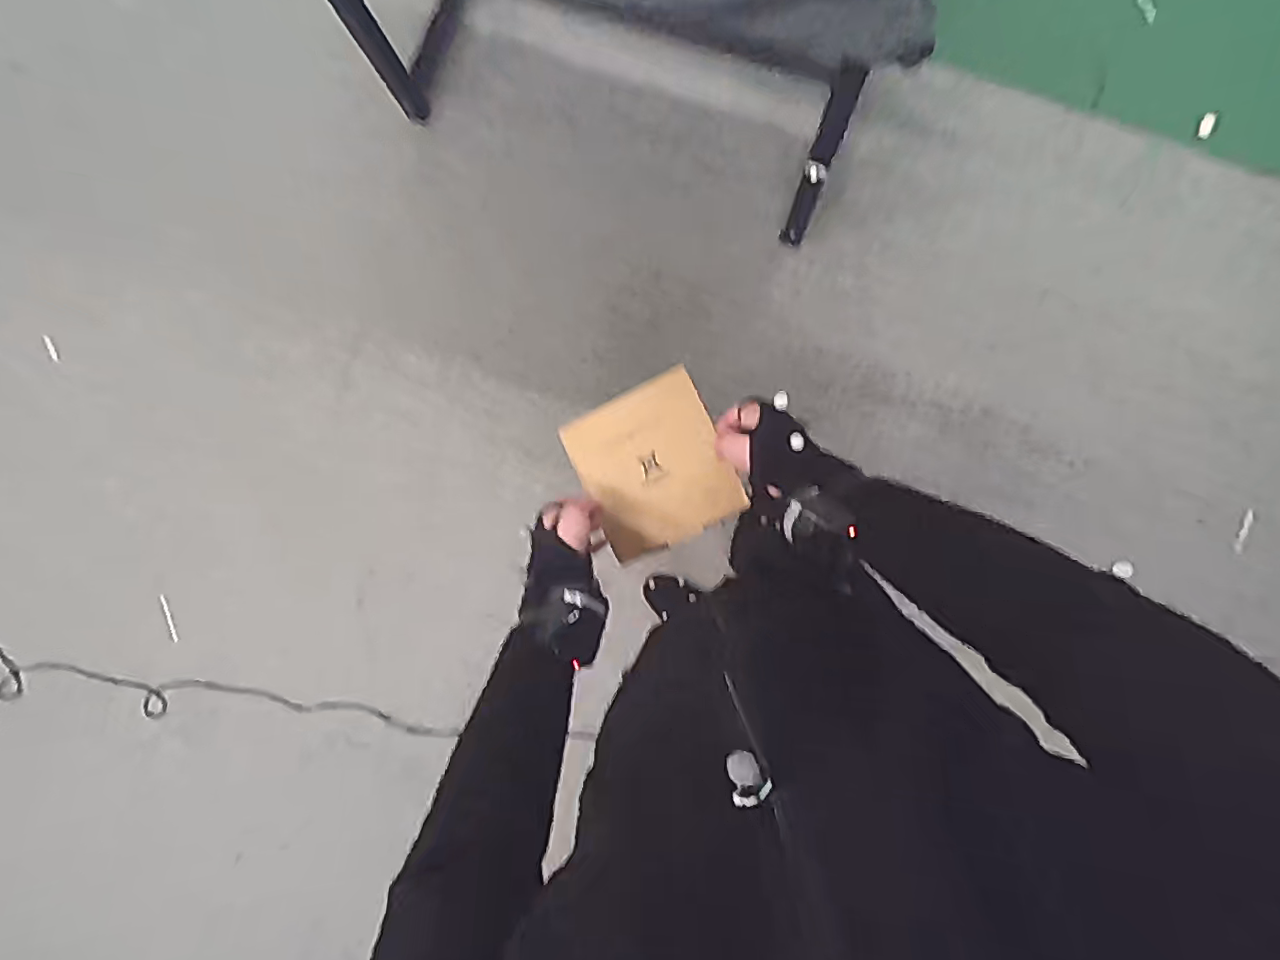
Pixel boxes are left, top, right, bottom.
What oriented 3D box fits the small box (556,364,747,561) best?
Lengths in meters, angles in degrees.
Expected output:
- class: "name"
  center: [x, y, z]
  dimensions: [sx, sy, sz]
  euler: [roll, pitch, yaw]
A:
- class: "small box"
  center: [0.023, -0.020, 0.683]
  dimensions: [0.168, 0.176, 0.179]
  euler: [-27, 86, 8]
